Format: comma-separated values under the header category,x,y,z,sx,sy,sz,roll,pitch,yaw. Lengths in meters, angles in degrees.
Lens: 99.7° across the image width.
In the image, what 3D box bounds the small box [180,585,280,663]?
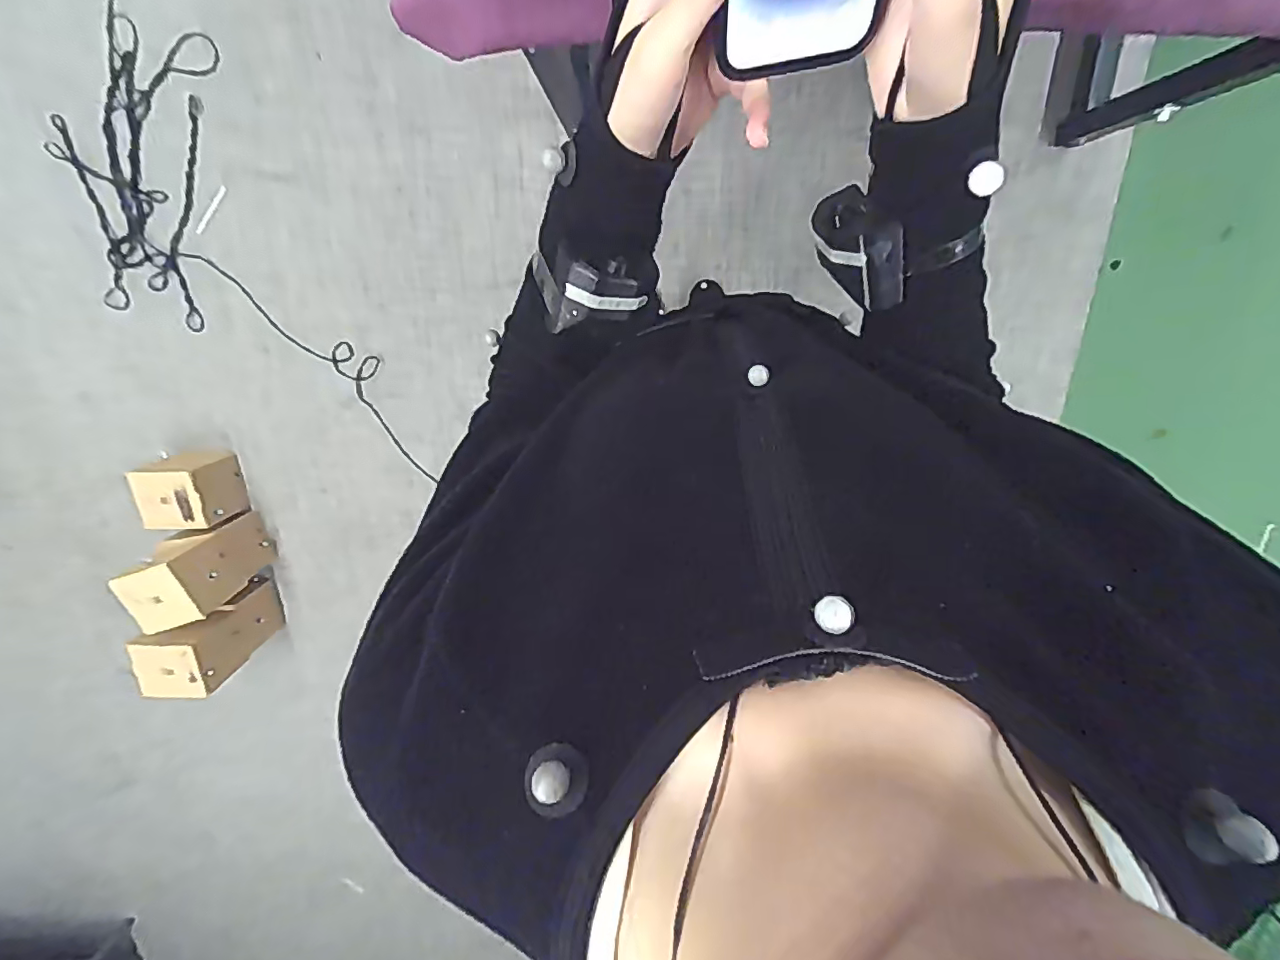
category,x,y,z,sx,sy,sz,roll,pitch,yaw
small box,-1.226,0.425,1.620,0.168,0.176,0.179,0,109,2

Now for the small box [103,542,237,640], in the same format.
category,x,y,z,sx,sy,sz,roll,pitch,yaw
small box,-1.198,0.279,1.400,0.179,0.176,0.168,-17,108,7
